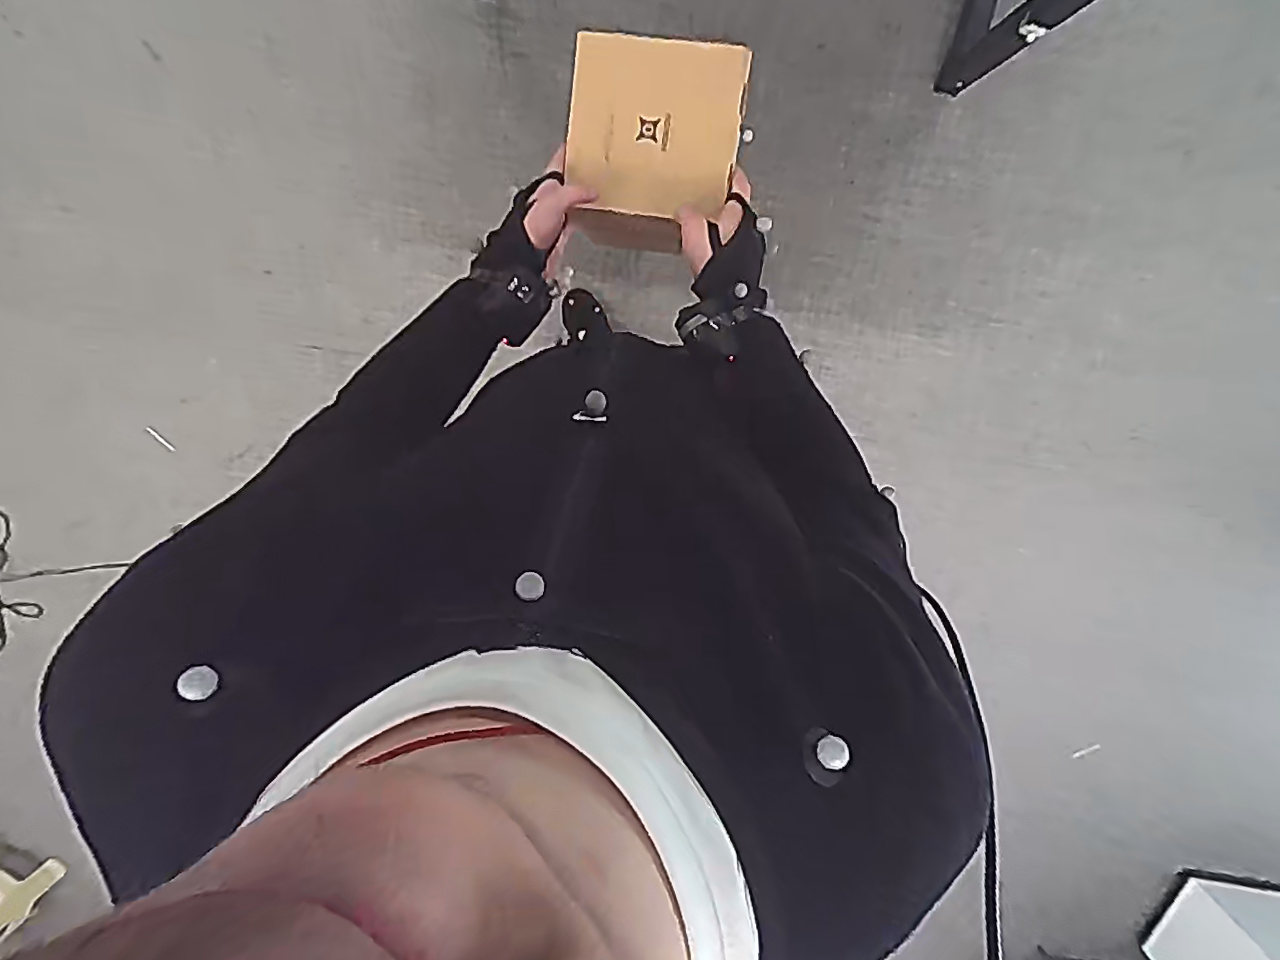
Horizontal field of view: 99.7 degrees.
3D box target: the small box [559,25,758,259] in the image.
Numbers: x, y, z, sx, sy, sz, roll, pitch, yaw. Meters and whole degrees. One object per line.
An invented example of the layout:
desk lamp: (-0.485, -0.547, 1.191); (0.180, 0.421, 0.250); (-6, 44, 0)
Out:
small box: (0.023, -0.364, 0.617); (0.179, 0.176, 0.168); (11, 100, 5)
